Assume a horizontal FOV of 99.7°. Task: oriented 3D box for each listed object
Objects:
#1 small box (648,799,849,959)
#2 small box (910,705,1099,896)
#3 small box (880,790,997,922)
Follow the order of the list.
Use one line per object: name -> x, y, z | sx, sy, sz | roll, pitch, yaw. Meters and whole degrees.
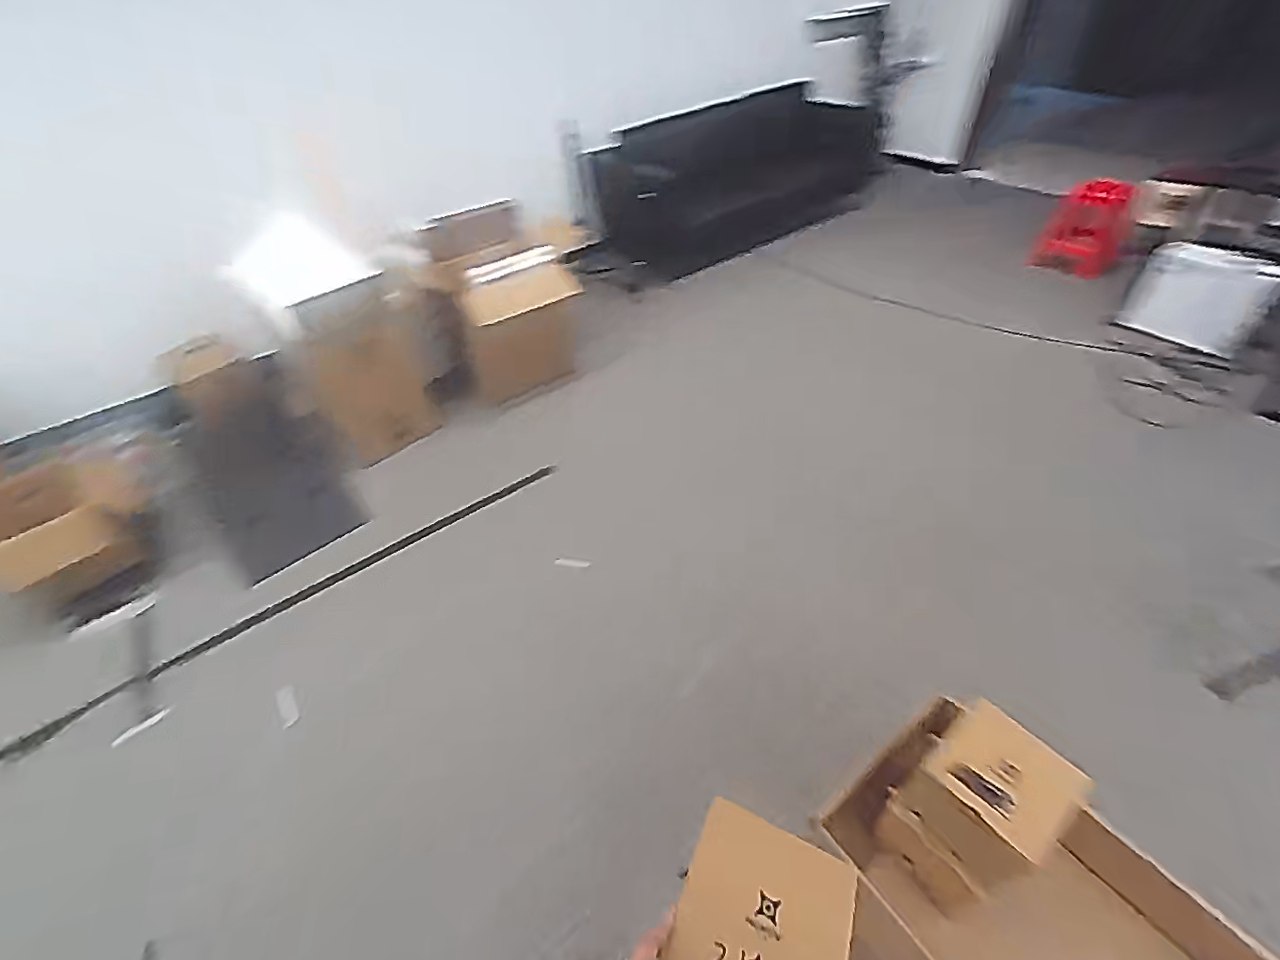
small box -> 0.109, 0.502, 0.589 | 0.168, 0.176, 0.179 | 19, 40, 17
small box -> 0.554, 0.503, 0.850 | 0.179, 0.176, 0.168 | -29, 47, -24
small box -> 0.554, 0.628, 0.957 | 0.179, 0.176, 0.168 | -29, 47, -23
